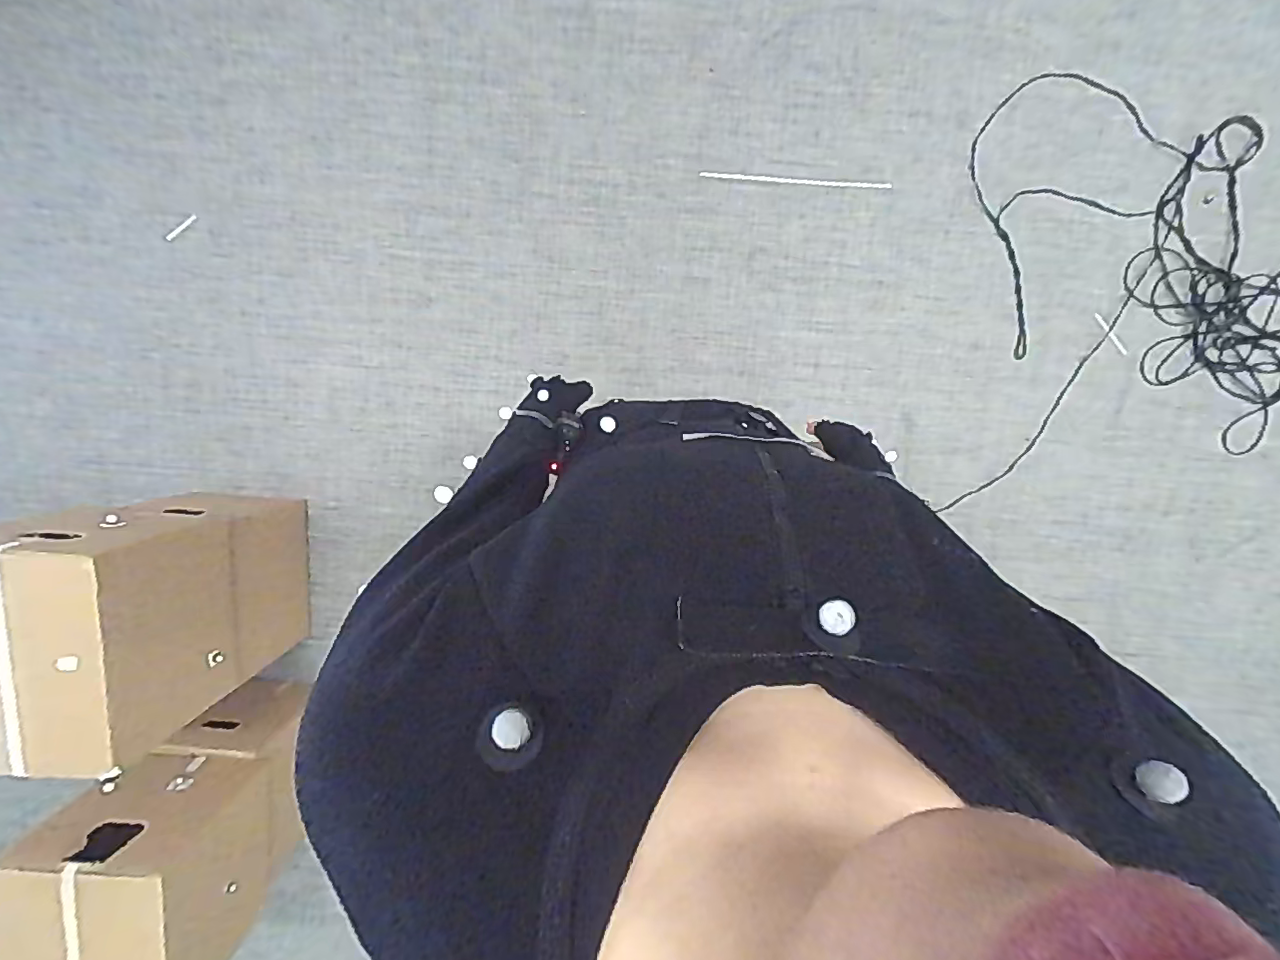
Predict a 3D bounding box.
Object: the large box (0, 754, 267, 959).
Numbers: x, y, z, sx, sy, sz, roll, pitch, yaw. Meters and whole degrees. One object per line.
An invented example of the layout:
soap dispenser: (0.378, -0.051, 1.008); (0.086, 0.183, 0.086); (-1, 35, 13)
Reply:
large box: (-1.039, 0.857, 1.140); (0.320, 0.320, 0.408); (6, 100, -3)
